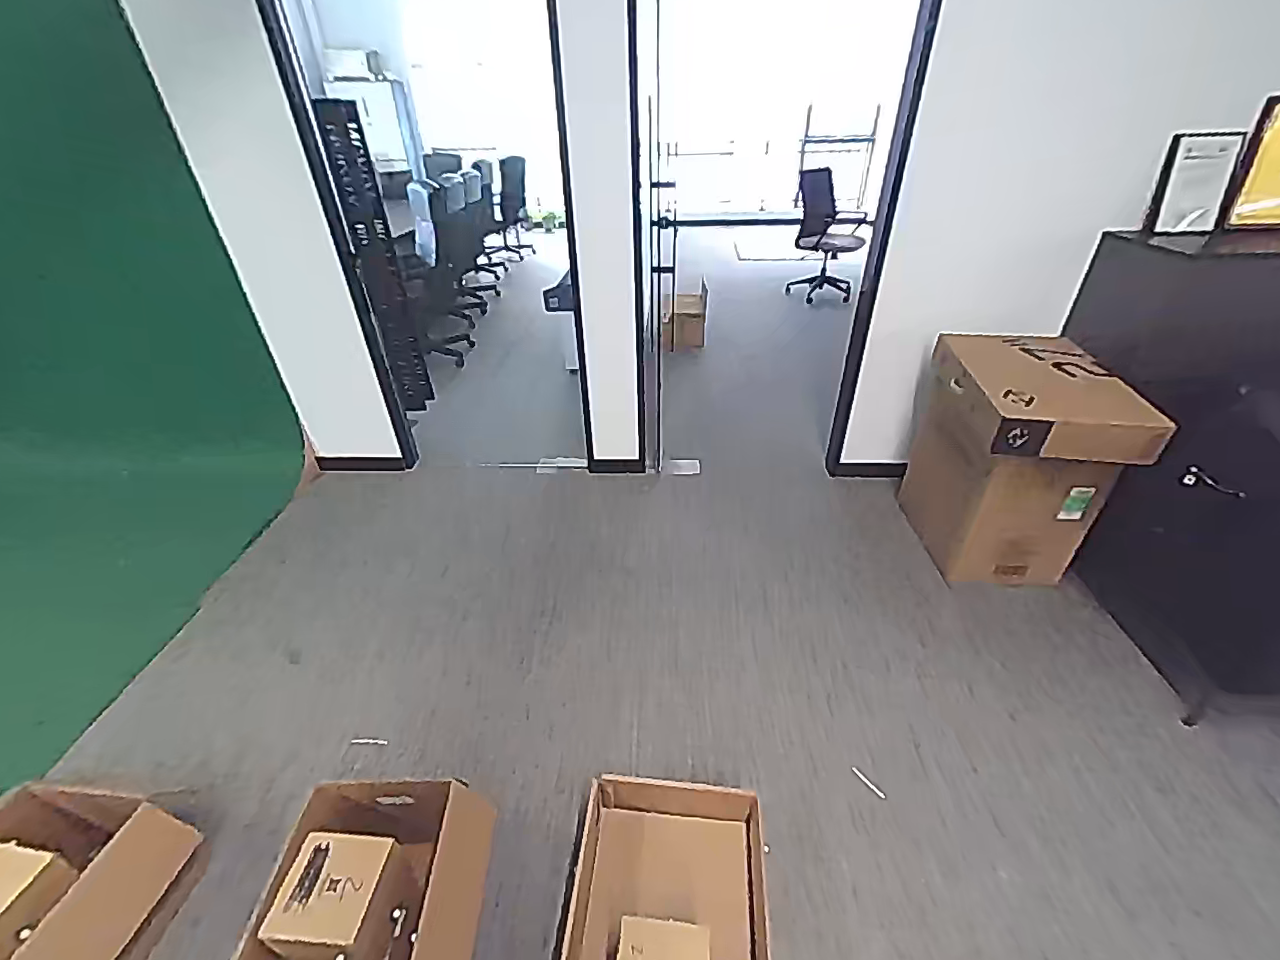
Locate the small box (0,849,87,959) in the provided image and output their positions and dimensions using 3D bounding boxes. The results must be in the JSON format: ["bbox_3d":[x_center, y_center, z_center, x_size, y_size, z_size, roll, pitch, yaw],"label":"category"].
[{"bbox_3d":[-1.232,0.828,1.023,0.179,0.176,0.168,5,34,6],"label":"small box"}]
